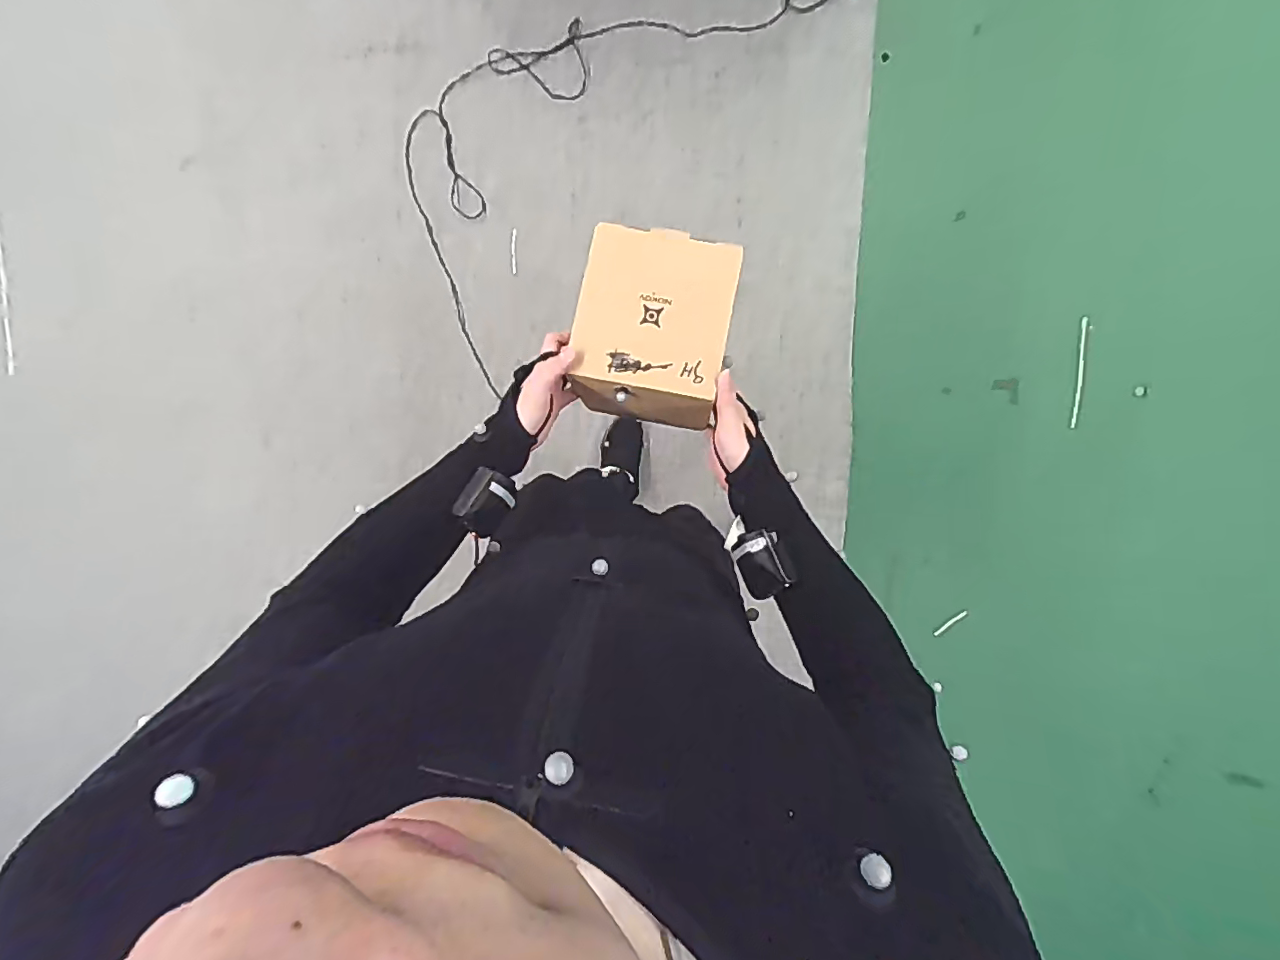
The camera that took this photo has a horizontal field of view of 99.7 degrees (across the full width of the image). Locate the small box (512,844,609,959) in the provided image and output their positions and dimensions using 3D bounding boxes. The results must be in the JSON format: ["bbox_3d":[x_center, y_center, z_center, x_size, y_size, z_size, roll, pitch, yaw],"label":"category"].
[{"bbox_3d":[-0.152,0.867,1.066,0.168,0.176,0.179,5,97,-1],"label":"small box"}]

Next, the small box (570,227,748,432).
[{"bbox_3d":[0.023,-0.170,0.660,0.168,0.176,0.179,11,85,3],"label":"small box"}]

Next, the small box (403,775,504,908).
[{"bbox_3d":[-0.414,0.812,1.226,0.168,0.176,0.179,8,95,-1],"label":"small box"}]
